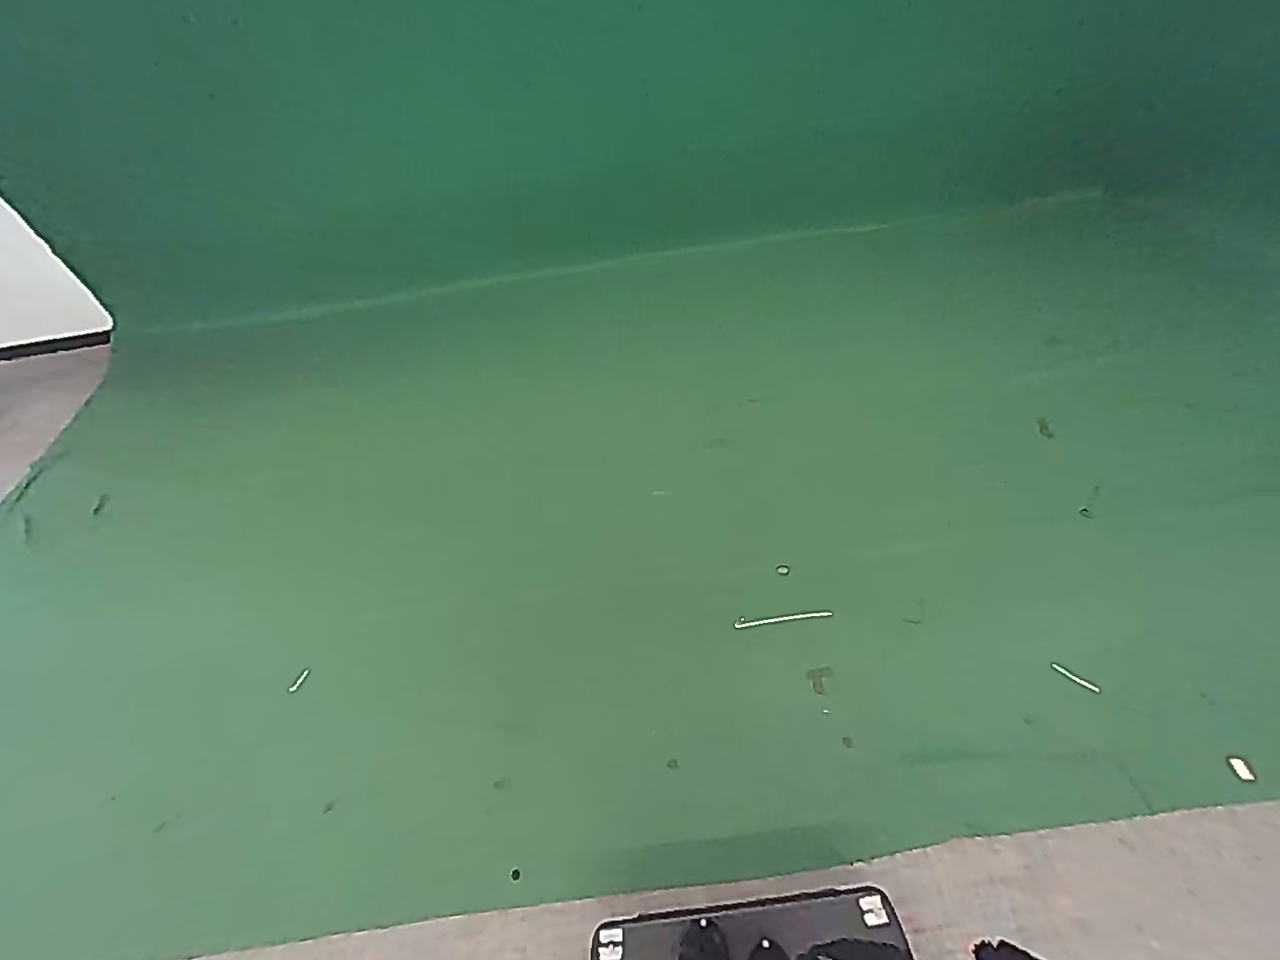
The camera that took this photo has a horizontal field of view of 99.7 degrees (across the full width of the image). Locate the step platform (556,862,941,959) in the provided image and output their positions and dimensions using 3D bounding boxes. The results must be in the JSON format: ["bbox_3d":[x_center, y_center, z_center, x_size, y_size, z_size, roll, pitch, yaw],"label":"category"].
[{"bbox_3d":[0.197,0.927,1.001,0.684,0.204,0.286,-9,50,1],"label":"step platform"}]
